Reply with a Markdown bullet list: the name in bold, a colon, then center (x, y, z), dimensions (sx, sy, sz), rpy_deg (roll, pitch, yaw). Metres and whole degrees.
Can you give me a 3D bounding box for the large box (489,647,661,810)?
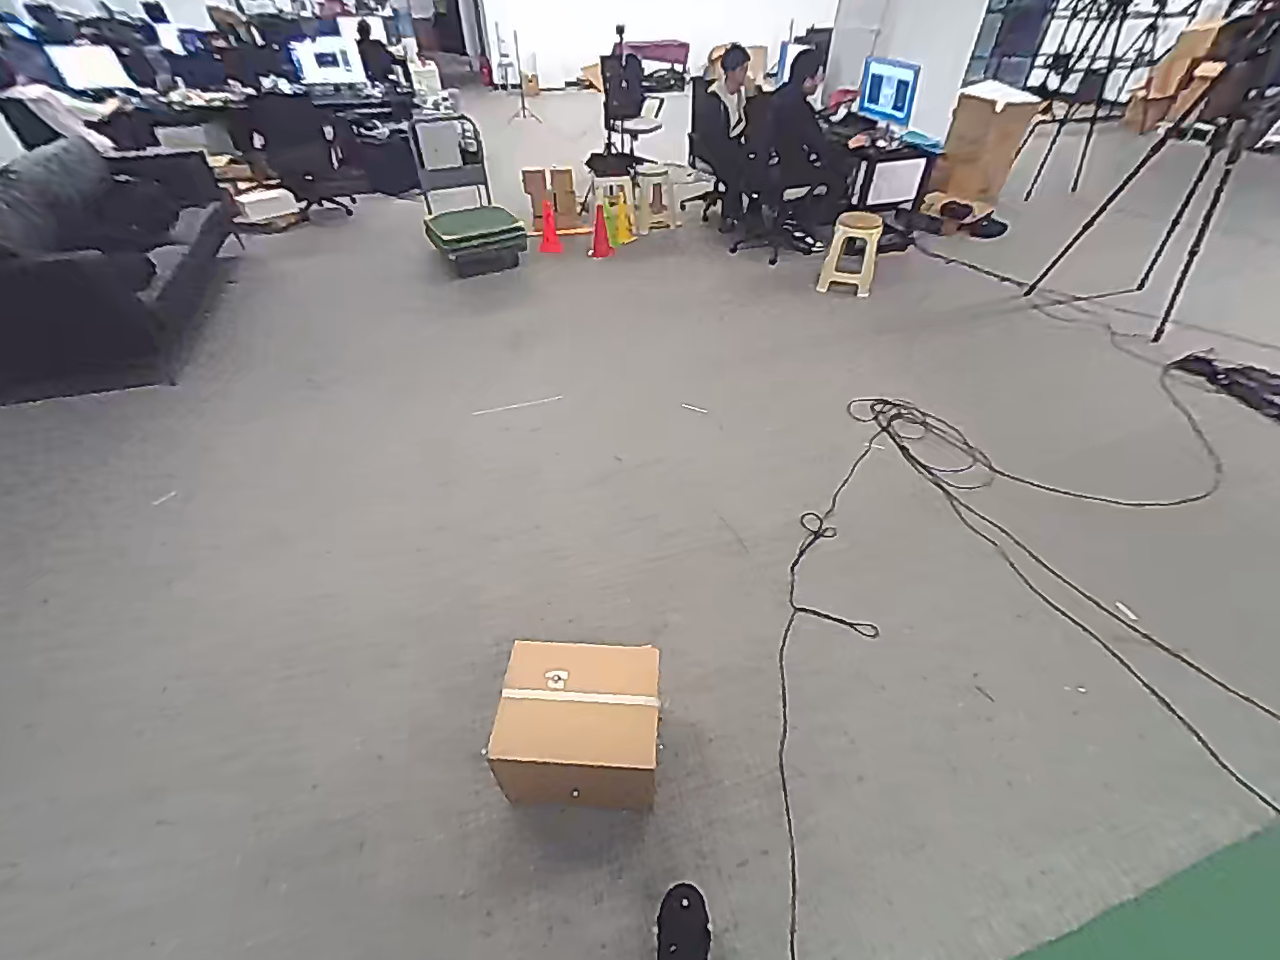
- **large box**: center (-0.146, 0.675, 1.470), dimensions (0.408, 0.320, 0.320), rpy_deg (1, 42, 4)
